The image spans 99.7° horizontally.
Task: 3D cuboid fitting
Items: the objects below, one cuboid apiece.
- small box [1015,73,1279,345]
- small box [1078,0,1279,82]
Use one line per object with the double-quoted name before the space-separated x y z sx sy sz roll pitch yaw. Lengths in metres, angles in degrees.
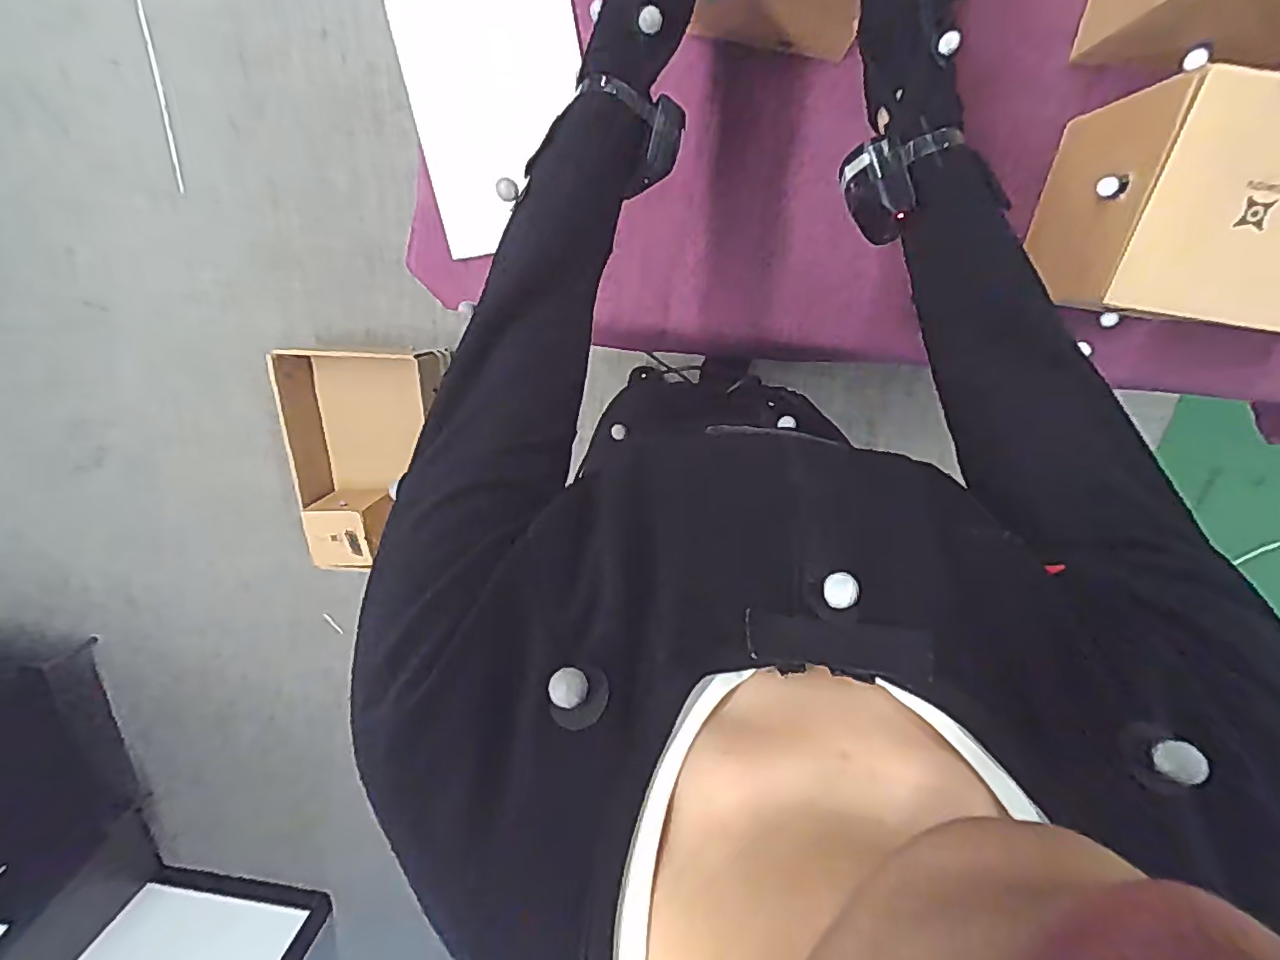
"small box" 0.495 -0.238 0.504 0.168 0.176 0.179 11 112 3
"small box" 0.501 -0.447 0.422 0.168 0.176 0.179 9 111 4
